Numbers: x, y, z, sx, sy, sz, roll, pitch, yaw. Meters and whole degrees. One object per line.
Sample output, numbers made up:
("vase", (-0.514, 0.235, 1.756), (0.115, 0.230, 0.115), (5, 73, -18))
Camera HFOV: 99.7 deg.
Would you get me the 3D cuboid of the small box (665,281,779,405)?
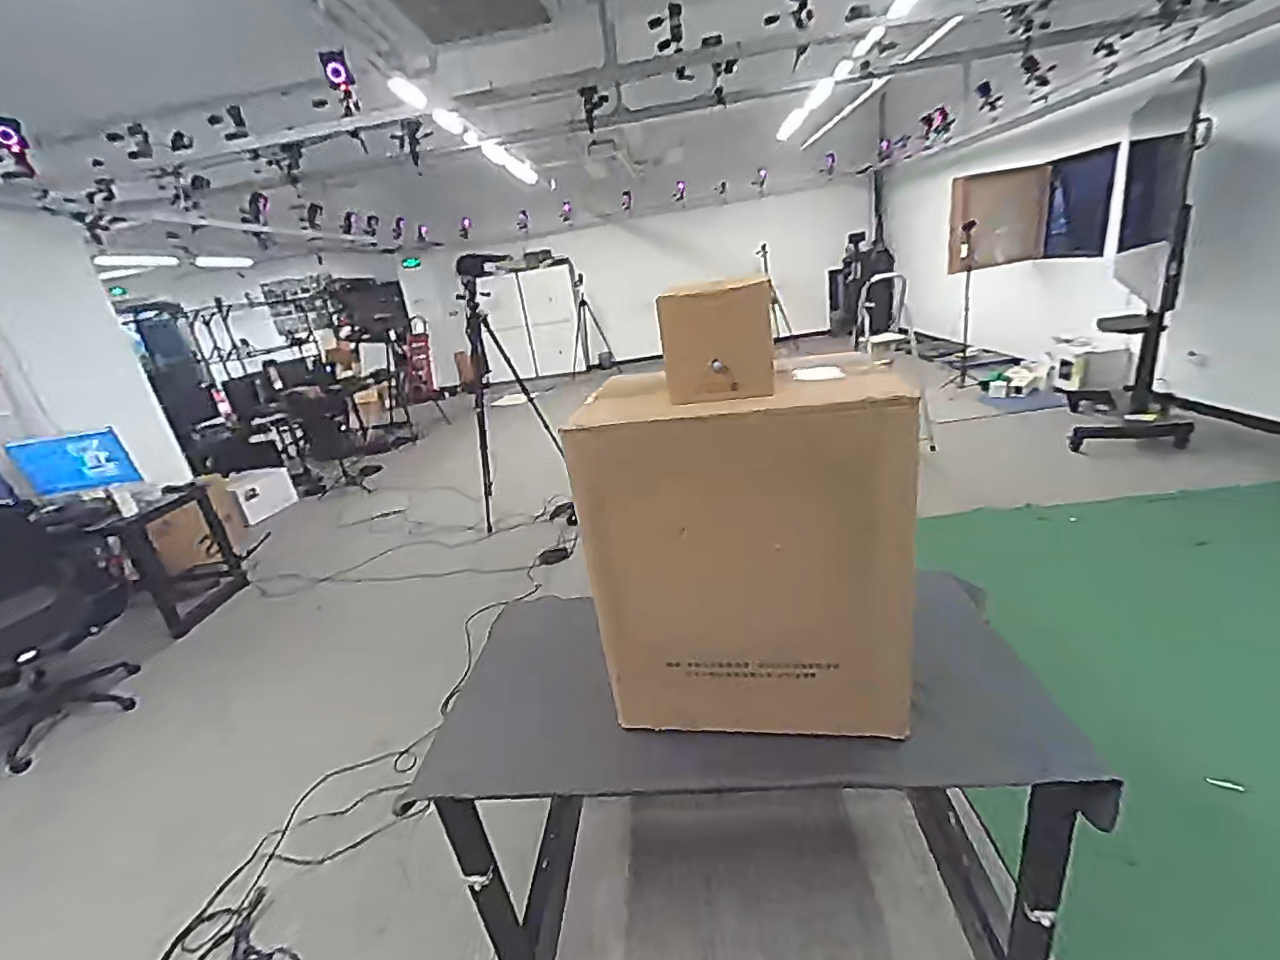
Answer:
("small box", (0.143, -0.229, 0.900), (0.168, 0.176, 0.179), (-3, 23, 13))
